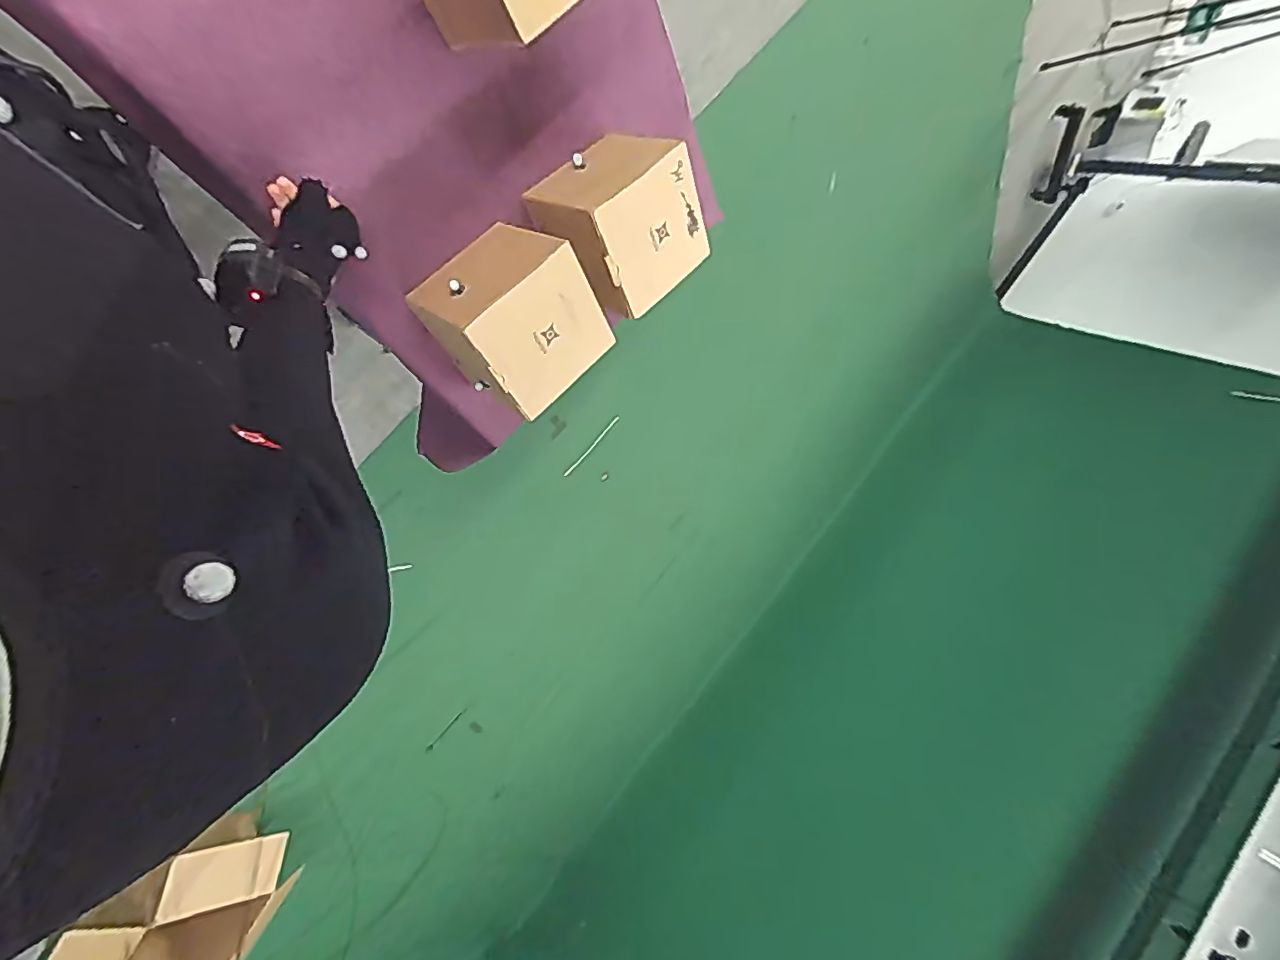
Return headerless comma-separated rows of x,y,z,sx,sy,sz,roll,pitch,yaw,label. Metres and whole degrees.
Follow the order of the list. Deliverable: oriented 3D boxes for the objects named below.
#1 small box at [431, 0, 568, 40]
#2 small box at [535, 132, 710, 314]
-0.138,-0.570,0.527,0.179,0.176,0.168,-49,142,-10,small box
-0.029,-0.376,0.785,0.179,0.176,0.168,-44,141,-15,small box
